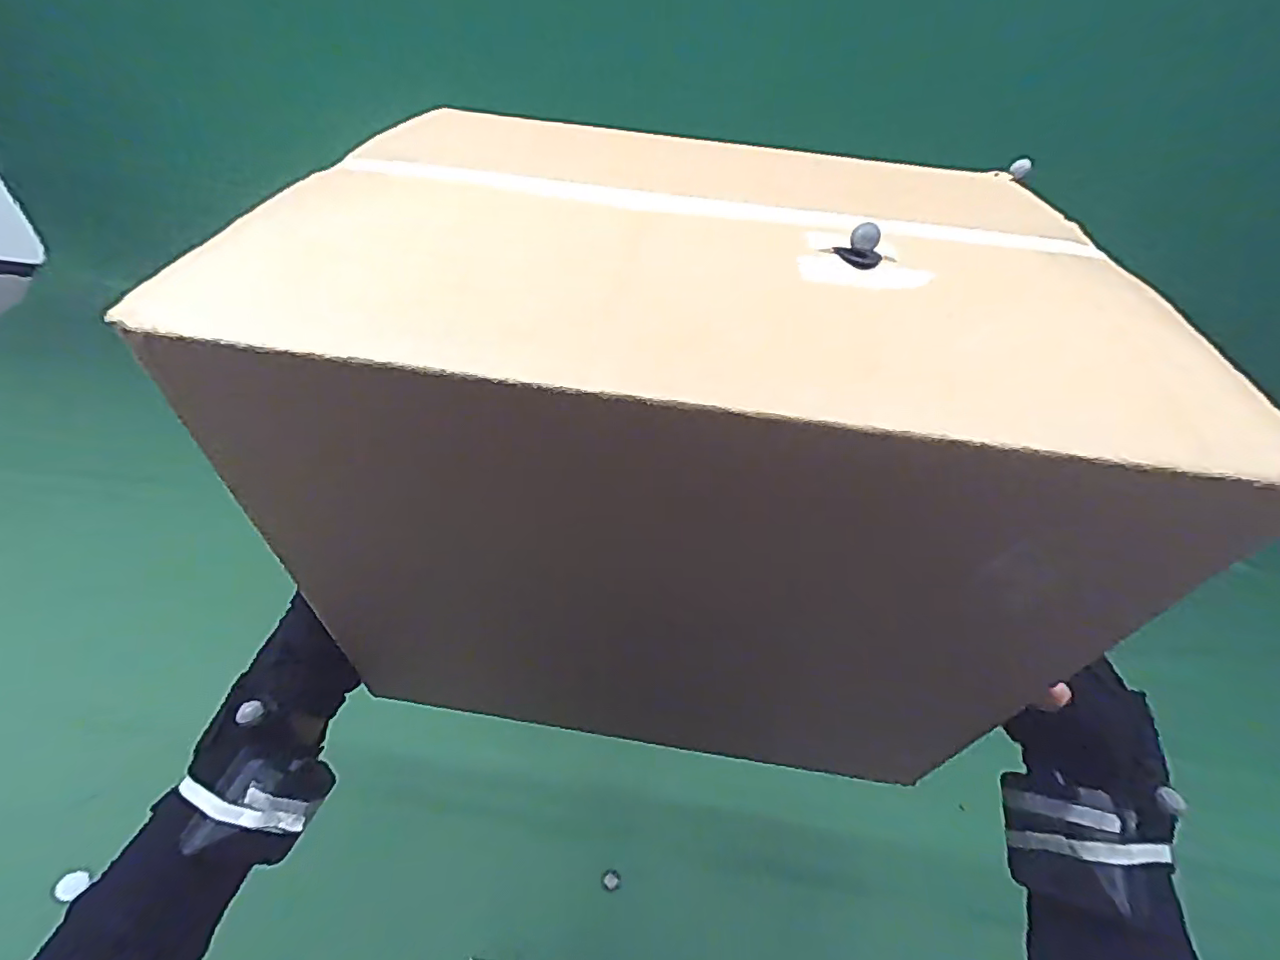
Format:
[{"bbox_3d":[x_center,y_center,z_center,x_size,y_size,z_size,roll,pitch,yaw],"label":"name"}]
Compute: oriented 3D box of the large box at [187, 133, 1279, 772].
[{"bbox_3d":[0.033,-0.023,0.401,0.408,0.320,0.320,9,46,2],"label":"large box"}]
